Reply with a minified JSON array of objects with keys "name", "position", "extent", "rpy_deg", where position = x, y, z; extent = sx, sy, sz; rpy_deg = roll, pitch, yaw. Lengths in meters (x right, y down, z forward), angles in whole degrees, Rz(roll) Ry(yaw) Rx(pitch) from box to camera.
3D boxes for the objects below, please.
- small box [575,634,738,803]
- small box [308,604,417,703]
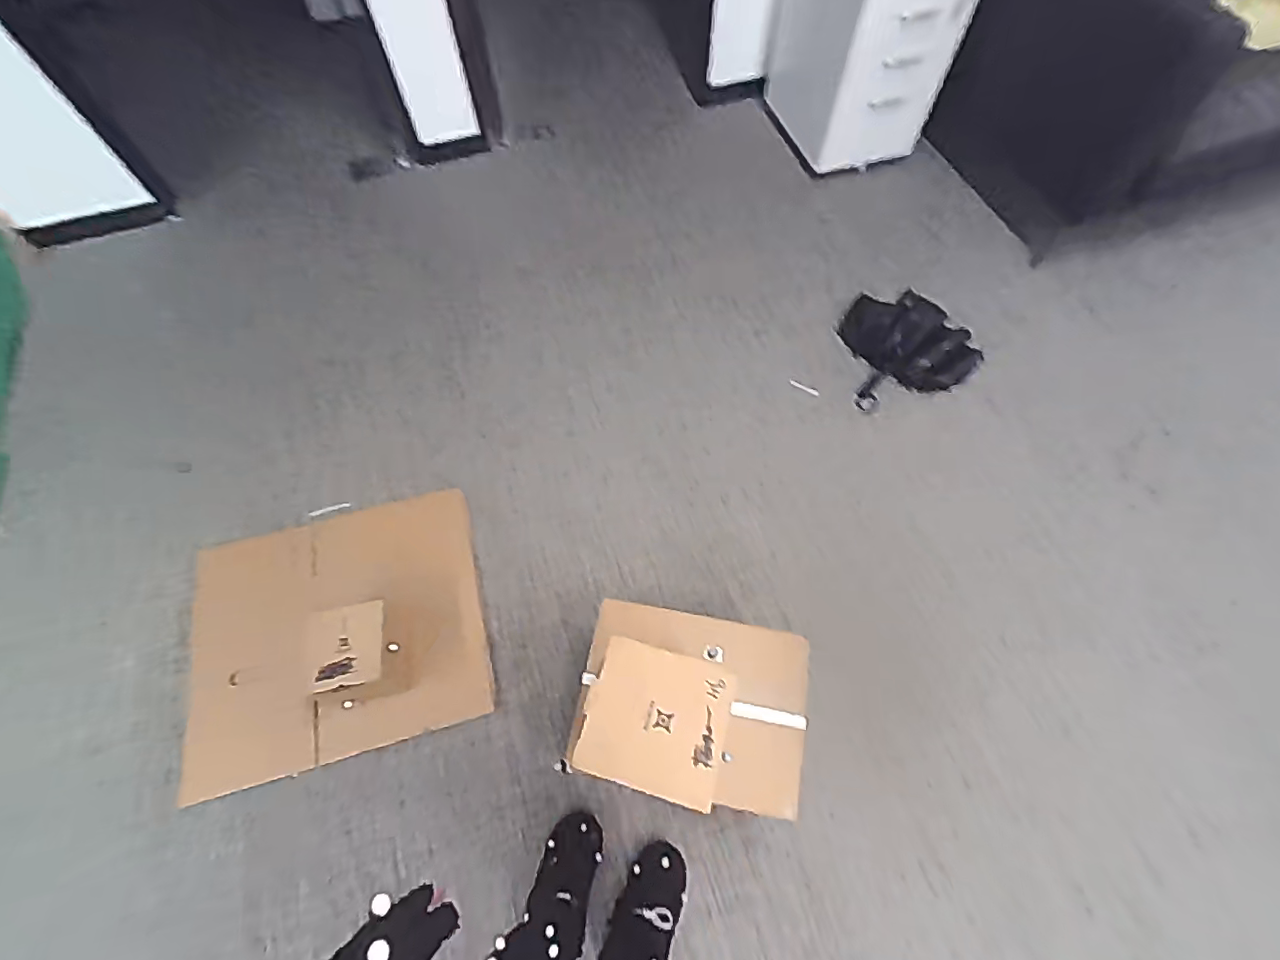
[{"name":"small box","position":[0.025,0.331,0.746],"extent":[0.179,0.176,0.168],"rpy_deg":[12,62,7]},{"name":"small box","position":[-0.620,0.401,1.230],"extent":[0.168,0.176,0.179],"rpy_deg":[-10,61,-4]}]
